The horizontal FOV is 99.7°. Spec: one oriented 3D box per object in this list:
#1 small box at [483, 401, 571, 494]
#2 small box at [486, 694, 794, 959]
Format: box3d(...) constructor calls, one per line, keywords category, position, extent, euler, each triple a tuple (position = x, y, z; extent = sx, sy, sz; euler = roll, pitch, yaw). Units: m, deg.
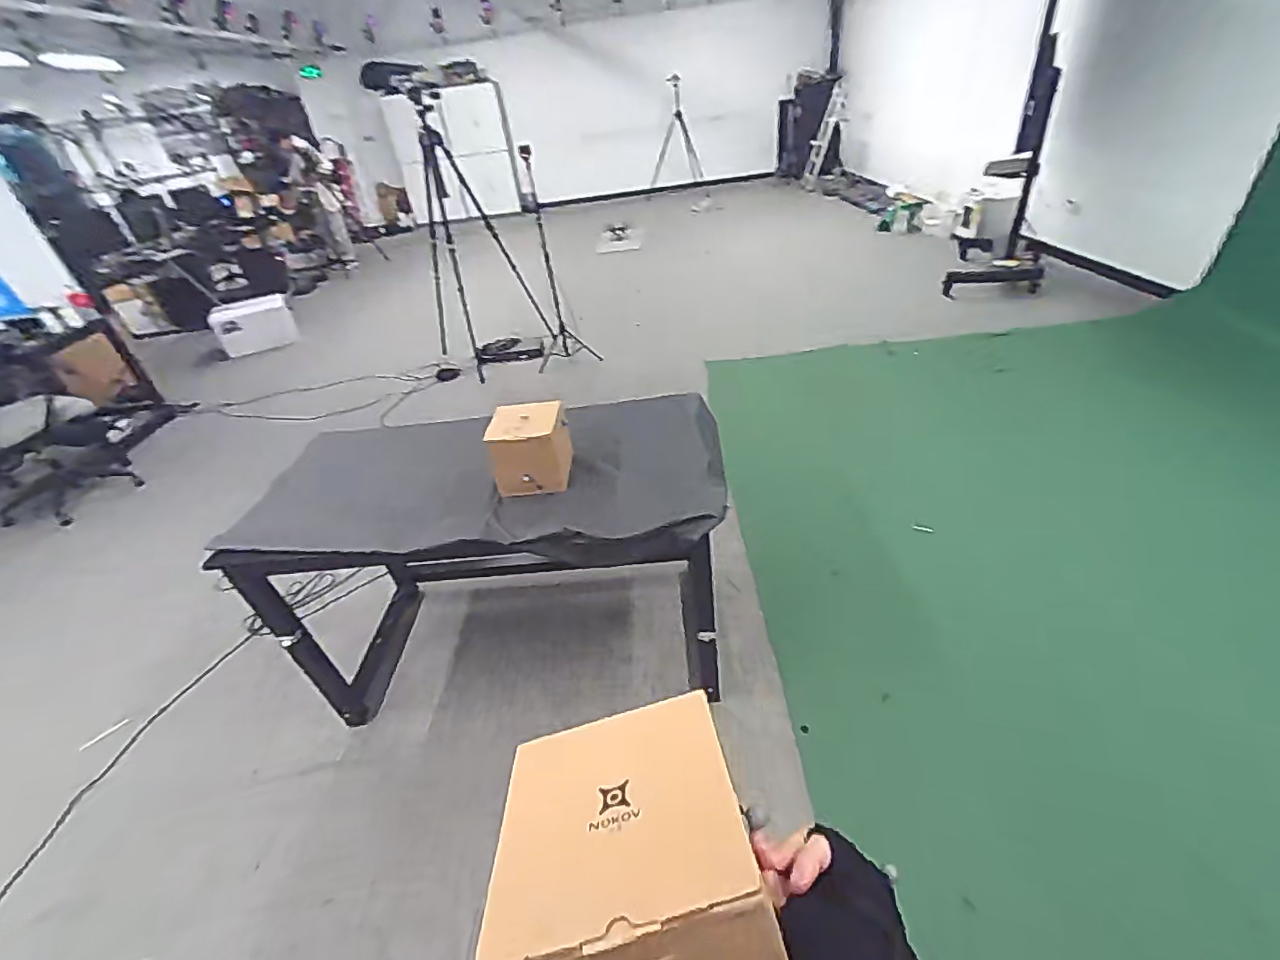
box3d(category="small box", position=(-0.275, -0.082, 1.365), extent=(0.168, 0.176, 0.179), euler=(-4, 36, 4))
box3d(category="small box", position=(0.007, 0.298, 0.393), extent=(0.168, 0.176, 0.179), euler=(-17, 16, -2))
